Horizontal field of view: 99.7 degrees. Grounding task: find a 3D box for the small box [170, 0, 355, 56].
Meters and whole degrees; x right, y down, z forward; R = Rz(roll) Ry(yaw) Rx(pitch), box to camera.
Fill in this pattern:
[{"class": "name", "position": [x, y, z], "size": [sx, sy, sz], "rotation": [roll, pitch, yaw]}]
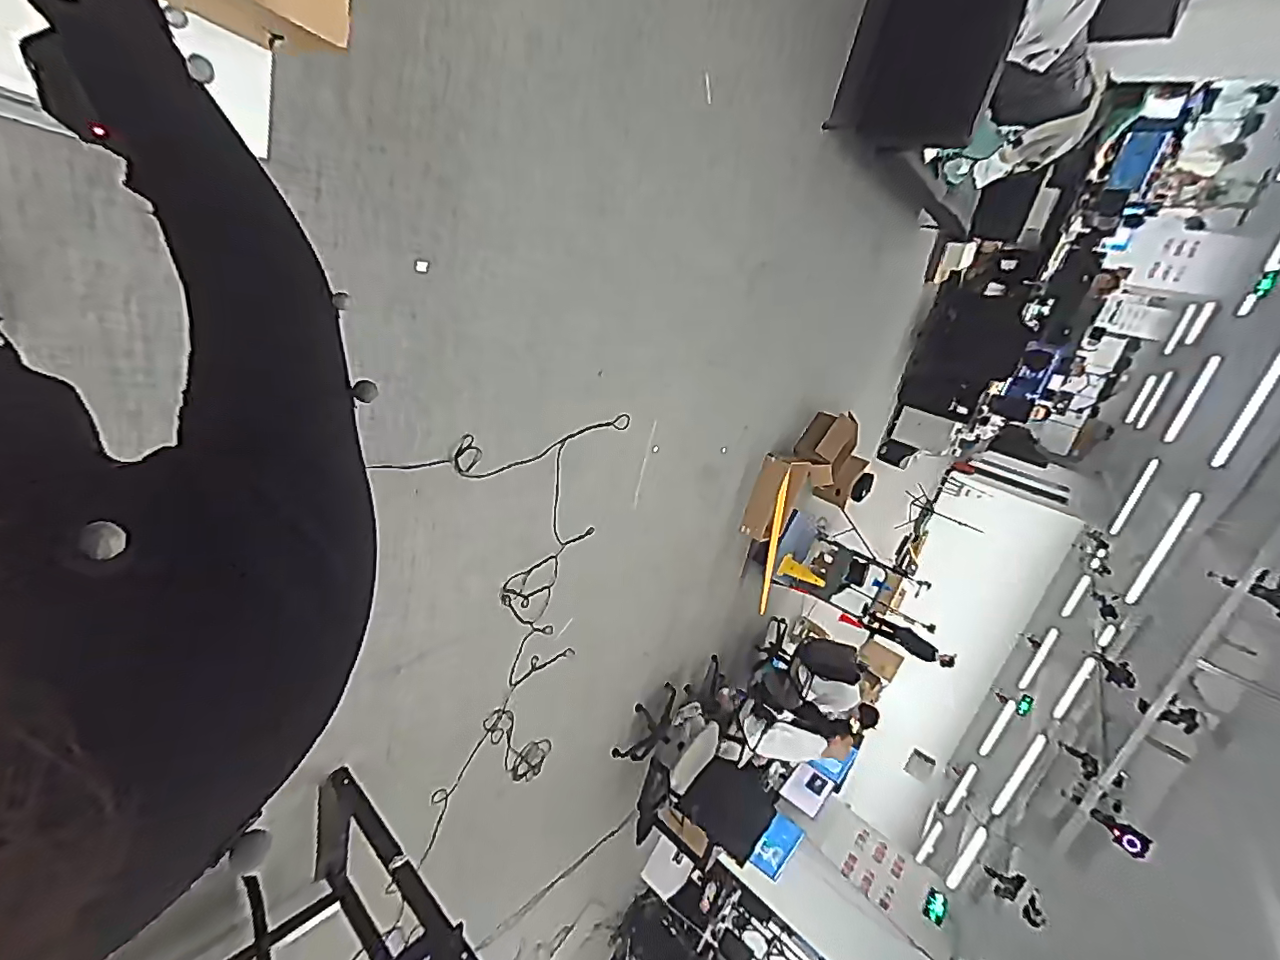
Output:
[{"class": "small box", "position": [-0.400, -0.553, 0.528], "size": [0.179, 0.176, 0.168], "rotation": [-4, 116, -51]}]
